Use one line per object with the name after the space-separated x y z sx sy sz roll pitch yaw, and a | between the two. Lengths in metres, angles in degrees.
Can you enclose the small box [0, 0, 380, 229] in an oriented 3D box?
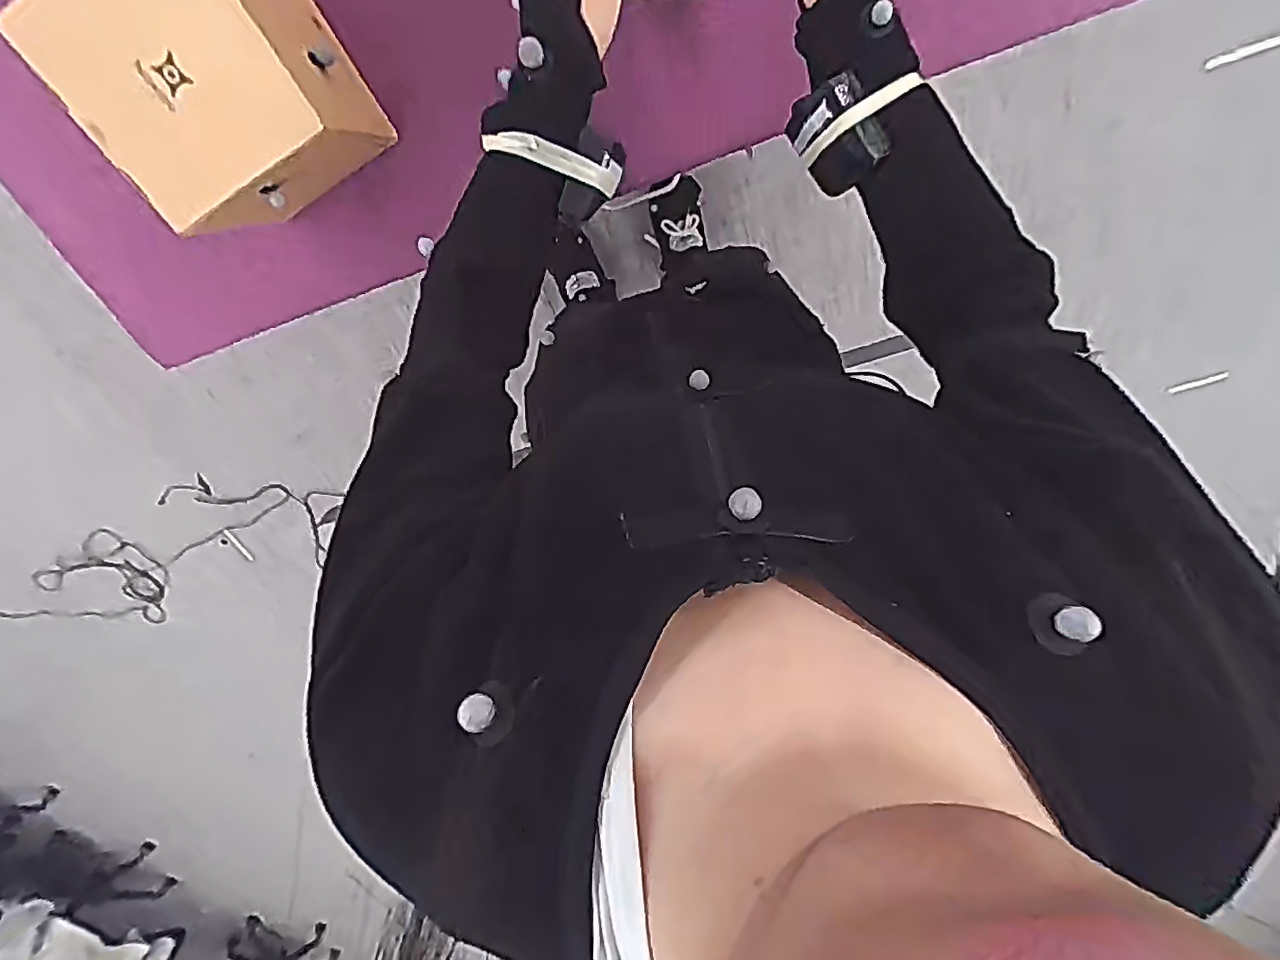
-0.368 -0.357 0.488 0.179 0.176 0.168 -24 118 13 | small box
